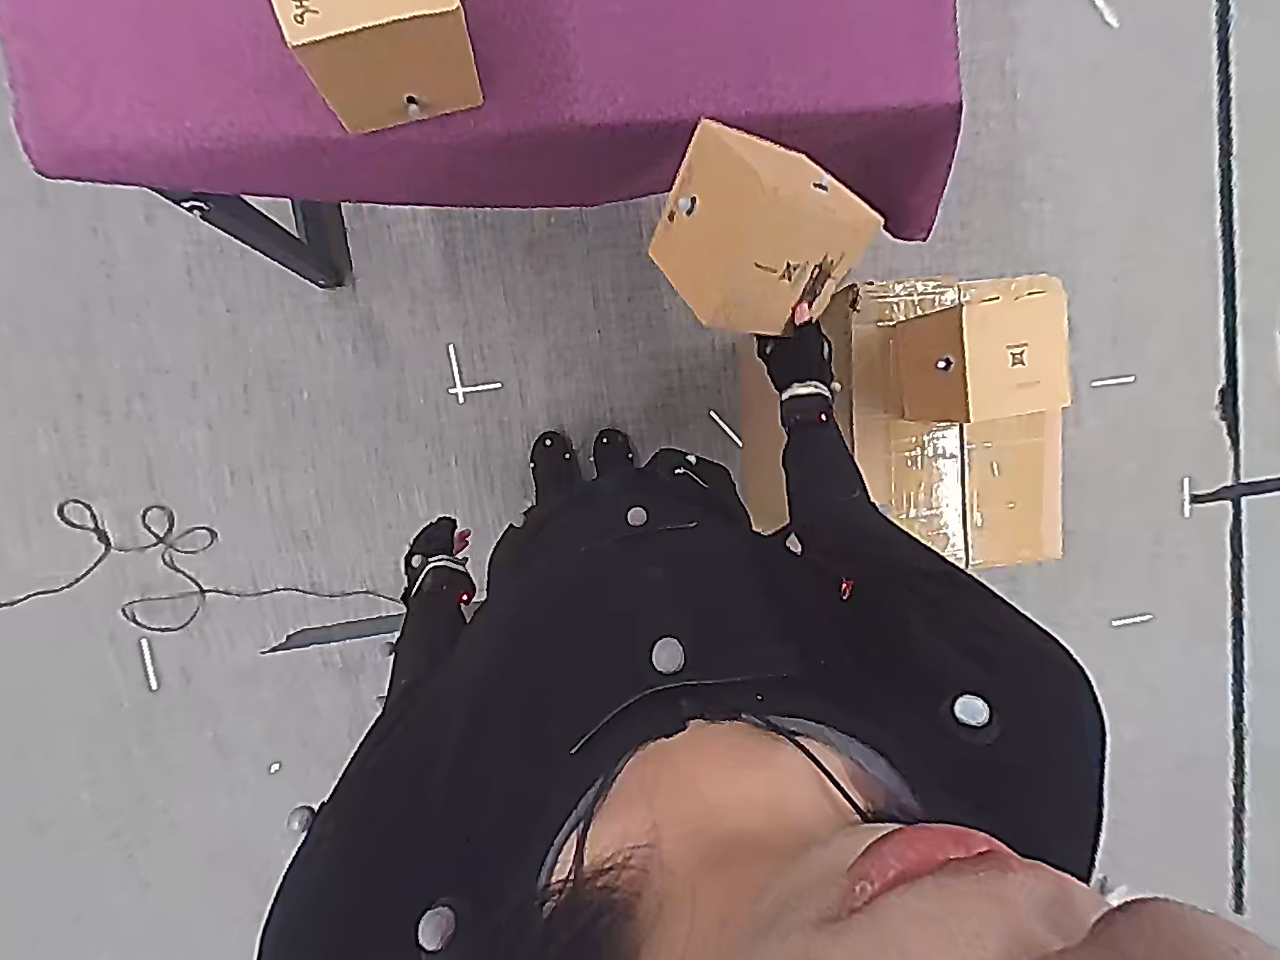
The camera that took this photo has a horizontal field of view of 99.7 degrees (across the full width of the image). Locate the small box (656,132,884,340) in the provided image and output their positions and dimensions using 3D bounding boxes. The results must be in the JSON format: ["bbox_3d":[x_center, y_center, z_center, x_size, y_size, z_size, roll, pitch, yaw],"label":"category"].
[{"bbox_3d":[0.149,-0.295,0.668,0.179,0.176,0.168,-4,140,-32],"label":"small box"}]

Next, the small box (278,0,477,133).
[{"bbox_3d":[-0.294,-0.533,0.609,0.179,0.176,0.168,-19,97,-7],"label":"small box"}]

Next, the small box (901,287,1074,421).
[{"bbox_3d":[0.543,-0.192,0.864,0.168,0.176,0.179,-10,98,-5],"label":"small box"}]
